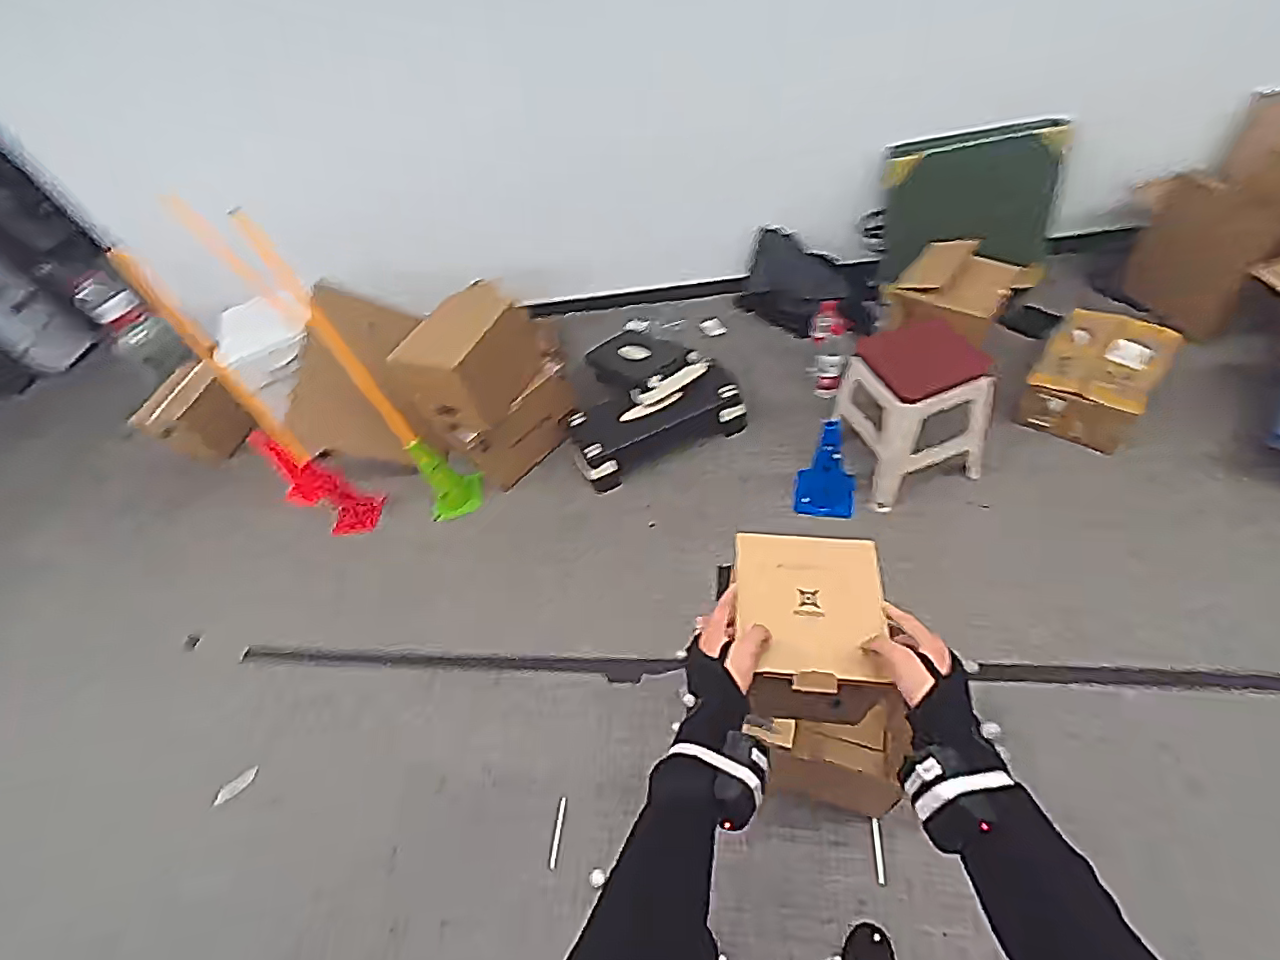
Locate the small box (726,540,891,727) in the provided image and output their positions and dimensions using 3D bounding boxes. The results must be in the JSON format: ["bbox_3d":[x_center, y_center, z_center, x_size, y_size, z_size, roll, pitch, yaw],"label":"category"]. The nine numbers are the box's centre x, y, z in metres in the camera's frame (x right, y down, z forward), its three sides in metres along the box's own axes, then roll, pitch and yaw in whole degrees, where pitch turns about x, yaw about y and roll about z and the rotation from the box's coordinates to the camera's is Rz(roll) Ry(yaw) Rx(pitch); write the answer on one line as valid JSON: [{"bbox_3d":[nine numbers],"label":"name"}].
[{"bbox_3d":[0.196,0.196,0.679,0.168,0.176,0.179,3,52,7],"label":"small box"}]
